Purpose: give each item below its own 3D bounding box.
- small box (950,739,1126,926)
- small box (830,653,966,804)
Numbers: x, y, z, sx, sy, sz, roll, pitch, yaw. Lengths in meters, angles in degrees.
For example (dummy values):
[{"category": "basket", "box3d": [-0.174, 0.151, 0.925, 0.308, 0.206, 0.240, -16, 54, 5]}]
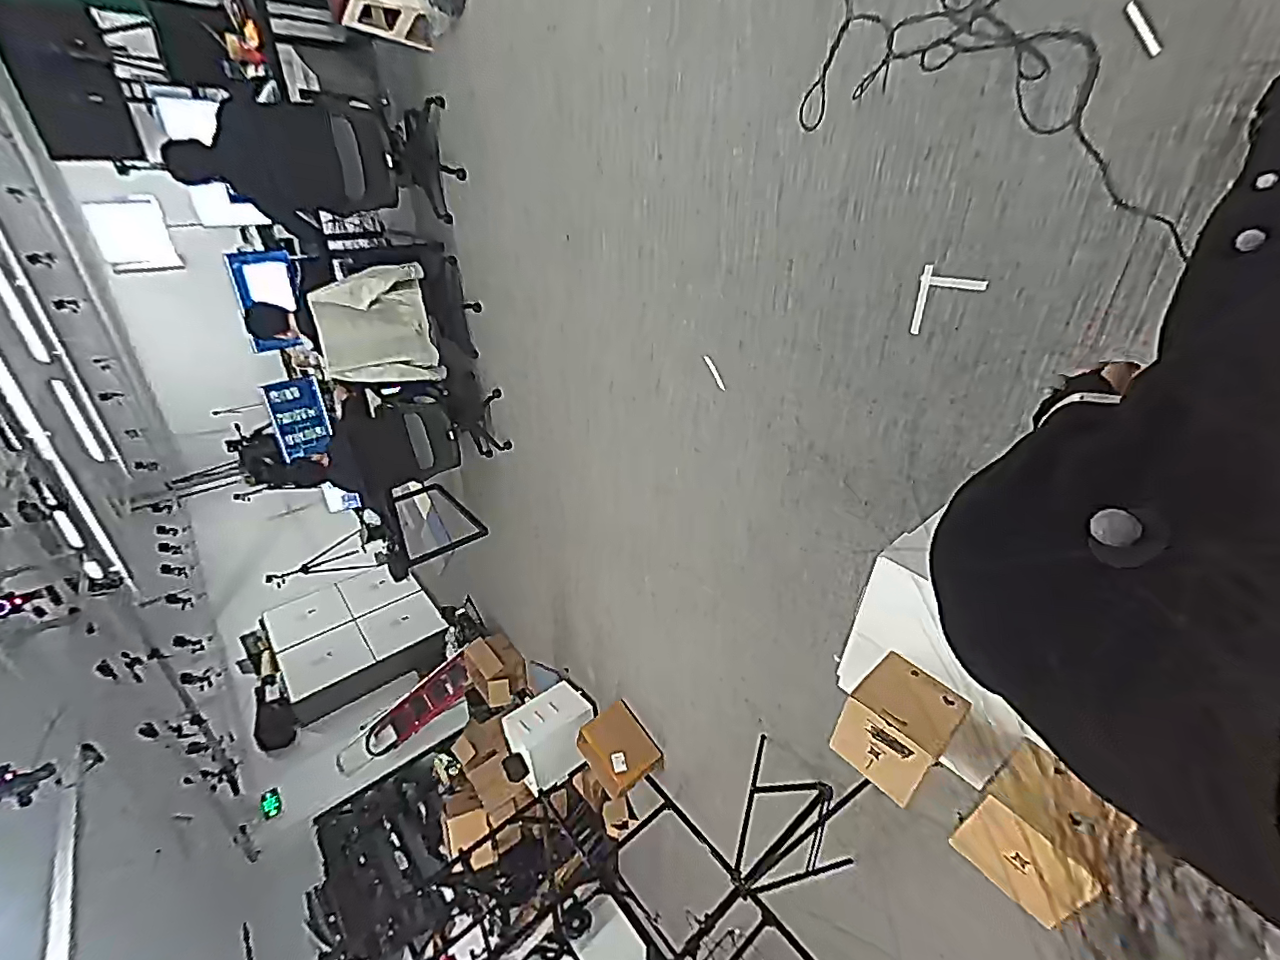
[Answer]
[{"category": "small box", "box3d": [0.671, 0.582, 0.912, 0.168, 0.176, 0.179, 36, 136, 38]}, {"category": "small box", "box3d": [0.510, 0.481, 1.068, 0.168, 0.176, 0.179, 34, 134, 39]}]
